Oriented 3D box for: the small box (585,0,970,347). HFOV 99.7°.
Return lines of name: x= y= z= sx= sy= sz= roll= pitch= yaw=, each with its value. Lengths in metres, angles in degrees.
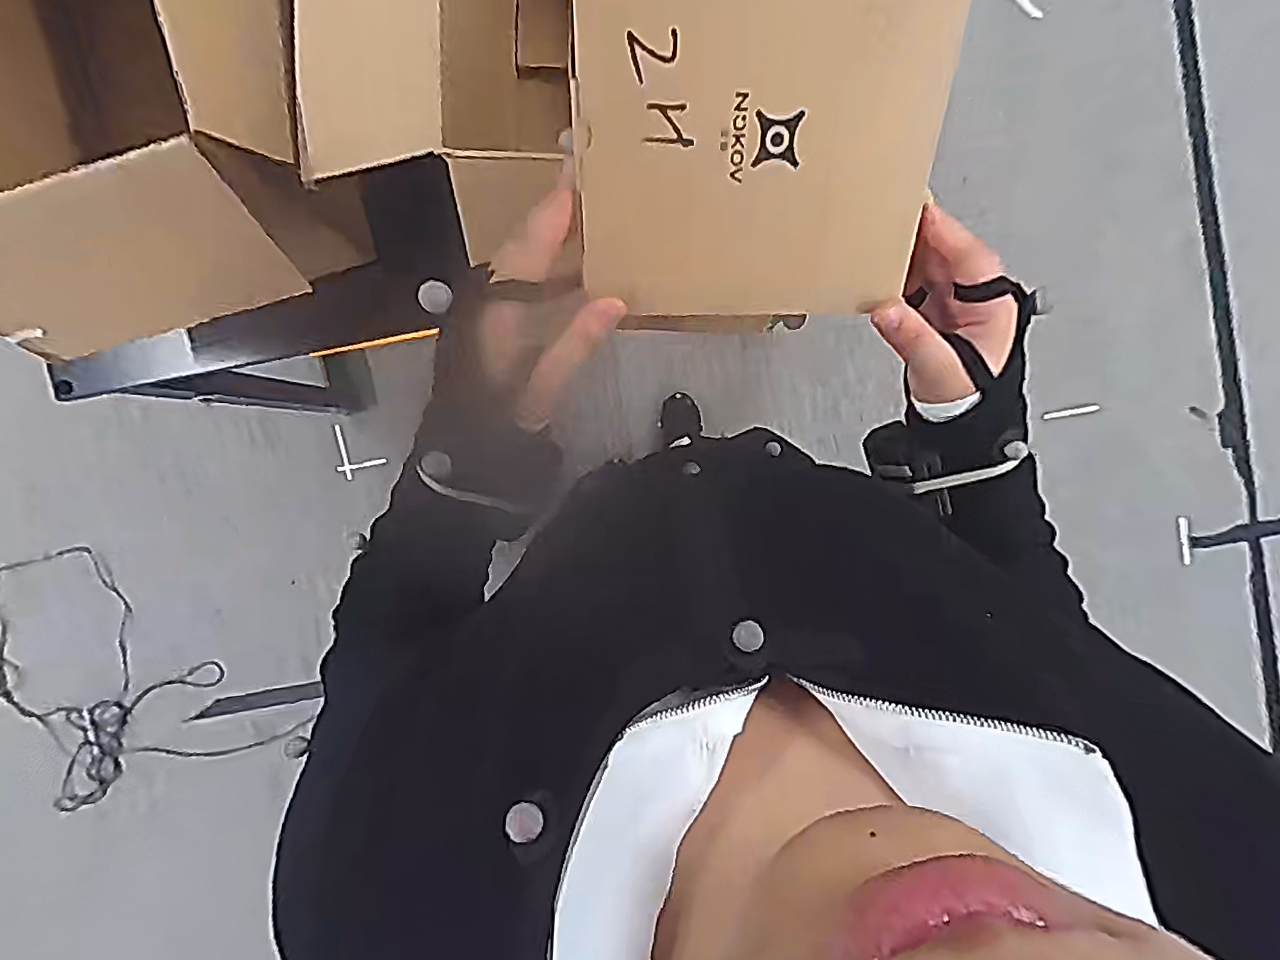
small box: x=0.056 y=-0.188 z=0.343 sx=0.179 sy=0.176 sz=0.168 roll=-1 pitch=119 yaw=-2
